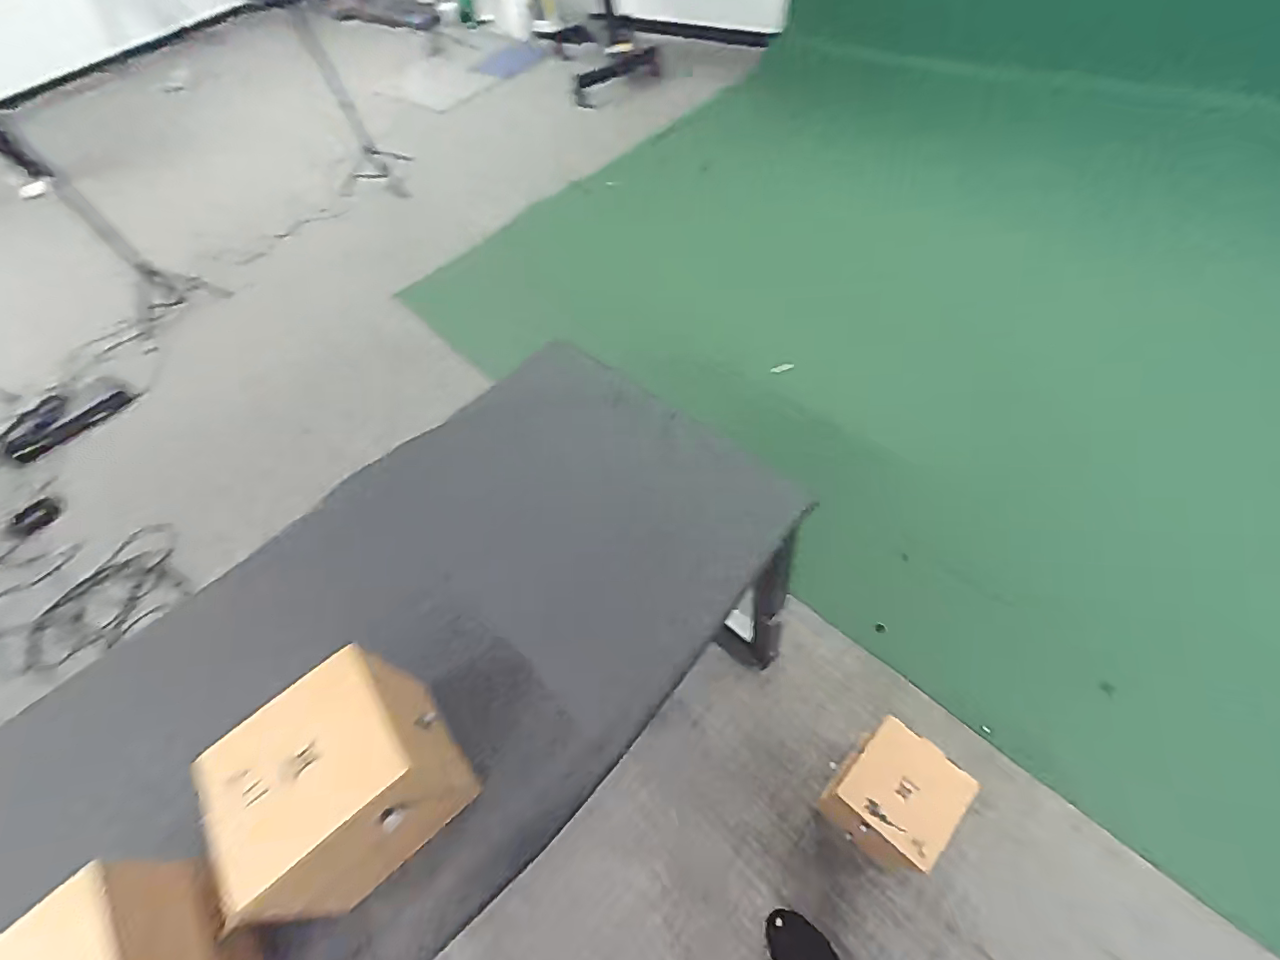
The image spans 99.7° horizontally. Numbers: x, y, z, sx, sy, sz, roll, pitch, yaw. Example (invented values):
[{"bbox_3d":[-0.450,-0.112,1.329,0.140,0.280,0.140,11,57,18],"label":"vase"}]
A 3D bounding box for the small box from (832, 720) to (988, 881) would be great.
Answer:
[{"bbox_3d":[0.465,0.567,0.963,0.179,0.176,0.168,-41,59,-18],"label":"small box"}]

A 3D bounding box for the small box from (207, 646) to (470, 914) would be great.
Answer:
[{"bbox_3d":[-0.310,0.321,0.588,0.179,0.176,0.168,-38,55,-14],"label":"small box"}]

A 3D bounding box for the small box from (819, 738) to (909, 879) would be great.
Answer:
[{"bbox_3d":[0.487,0.662,1.096,0.179,0.176,0.168,35,68,31],"label":"small box"}]
